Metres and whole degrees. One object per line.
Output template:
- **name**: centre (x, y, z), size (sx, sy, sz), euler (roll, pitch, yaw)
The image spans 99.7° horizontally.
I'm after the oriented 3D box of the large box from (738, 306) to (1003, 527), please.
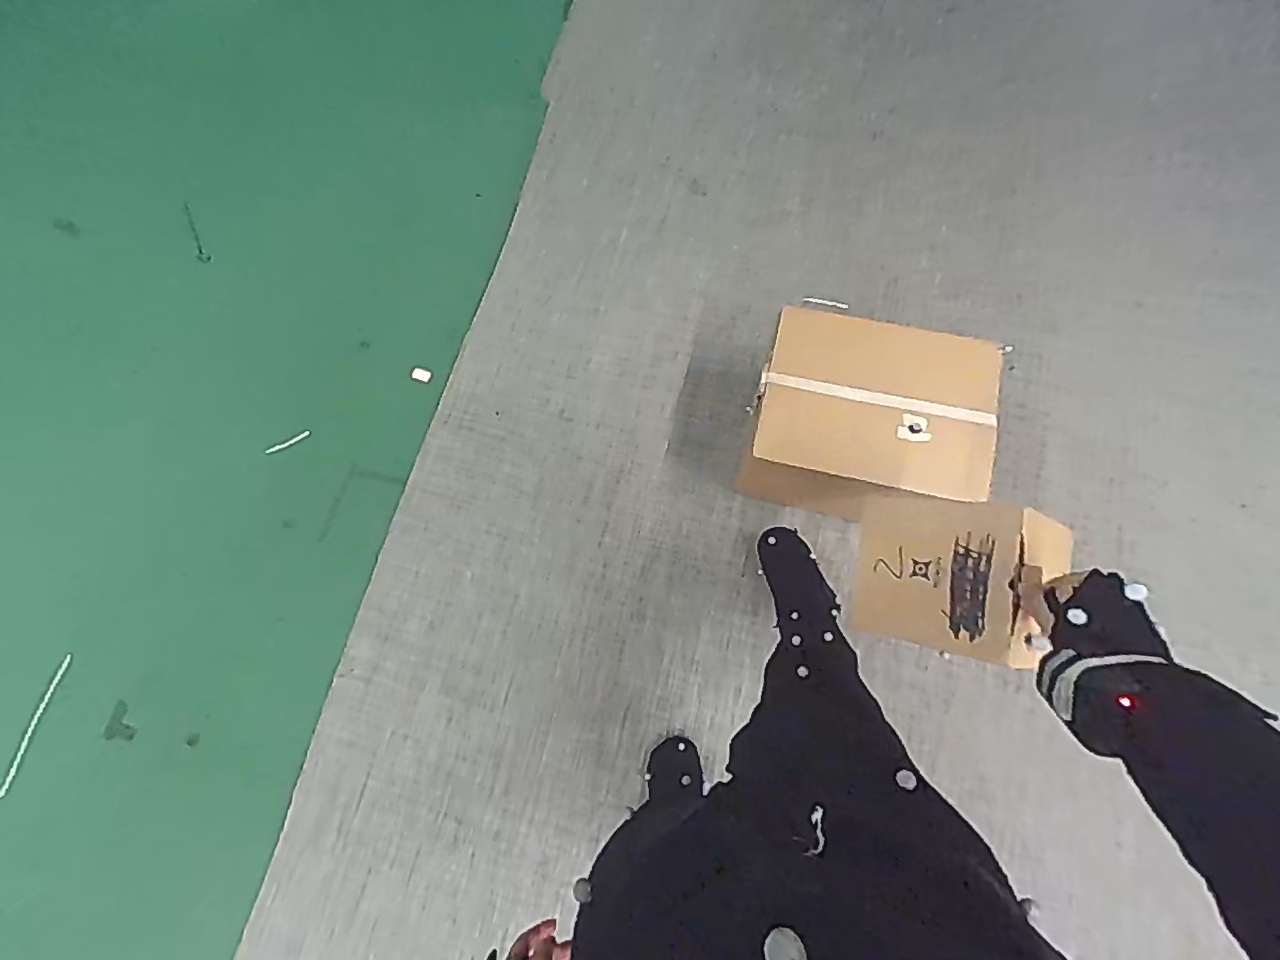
- **large box**: centre (0.441, -0.112, 1.113), size (0.408, 0.320, 0.320), euler (13, 78, 6)
